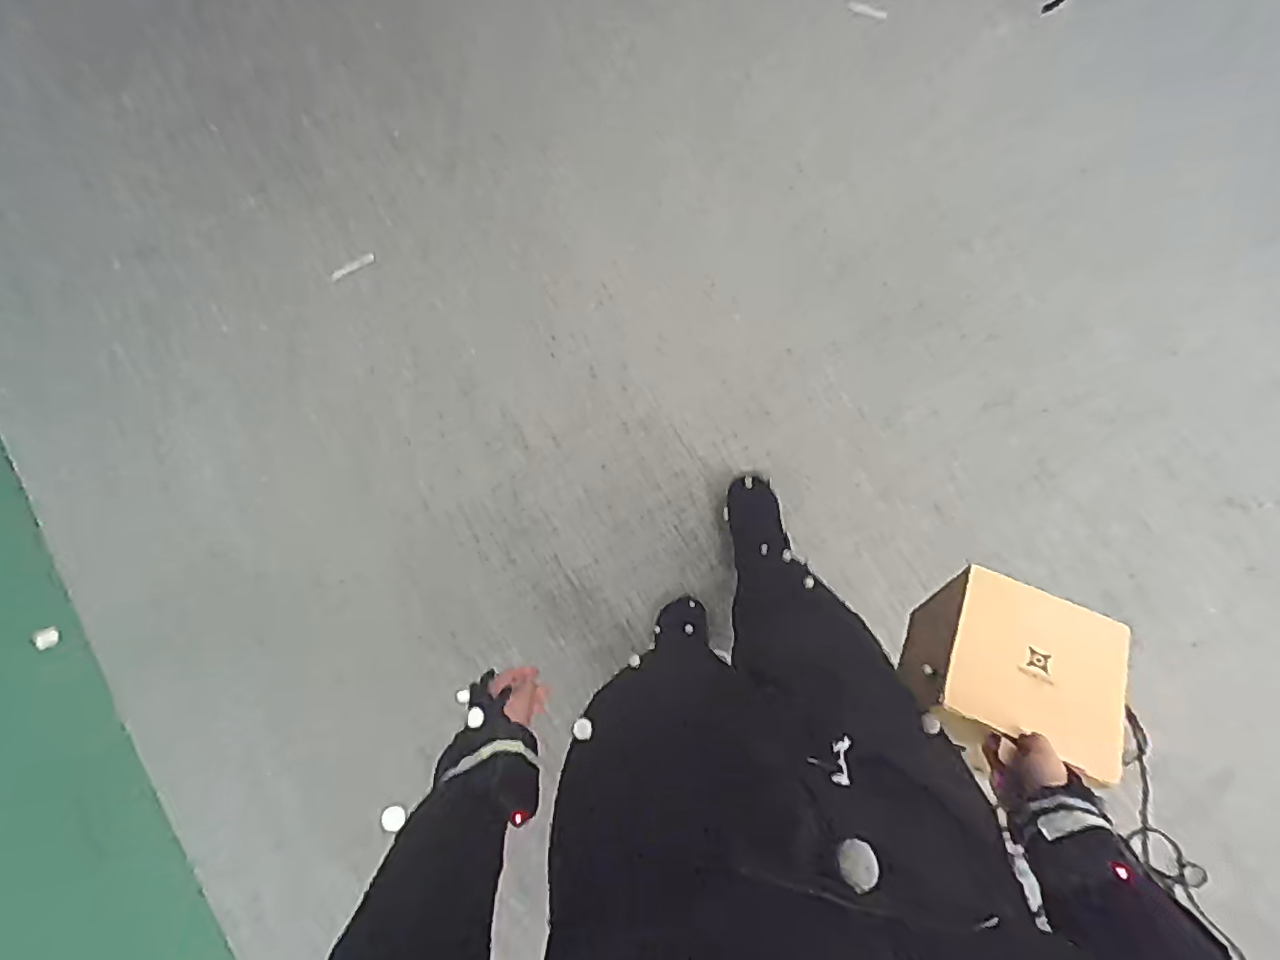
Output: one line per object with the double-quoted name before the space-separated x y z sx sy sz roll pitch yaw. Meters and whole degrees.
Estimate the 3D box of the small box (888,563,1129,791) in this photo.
"small box" 0.412 0.231 0.627 0.168 0.176 0.179 23 62 15
